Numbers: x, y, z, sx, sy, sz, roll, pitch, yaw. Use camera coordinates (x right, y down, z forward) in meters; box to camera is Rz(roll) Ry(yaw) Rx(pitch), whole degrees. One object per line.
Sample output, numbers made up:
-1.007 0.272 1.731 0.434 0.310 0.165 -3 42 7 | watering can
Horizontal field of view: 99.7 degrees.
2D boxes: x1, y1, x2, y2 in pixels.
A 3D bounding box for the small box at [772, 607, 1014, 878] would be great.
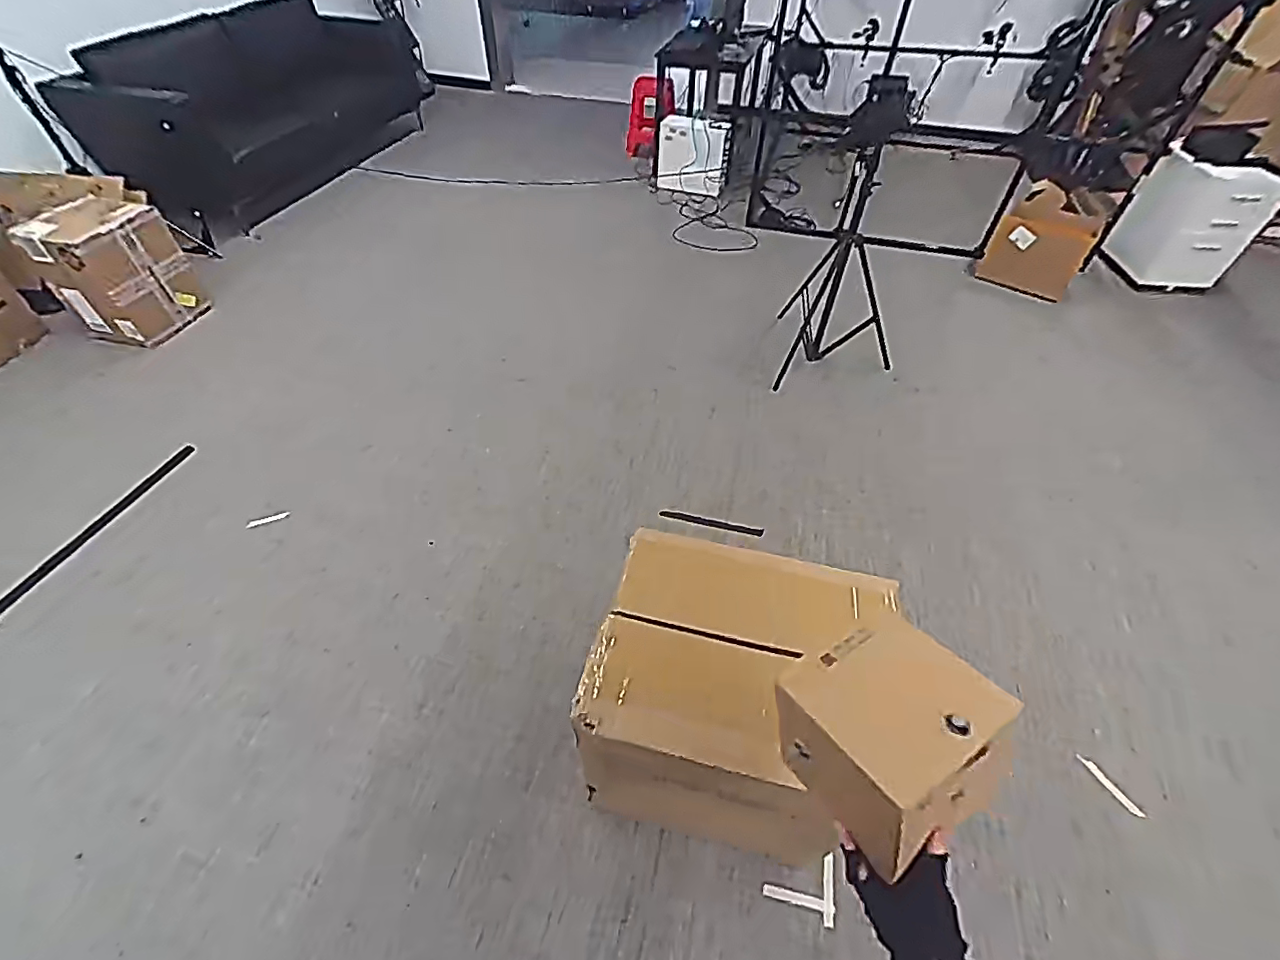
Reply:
0.266 0.278 0.601 0.168 0.179 0.176 -27 35 -19 | small box
